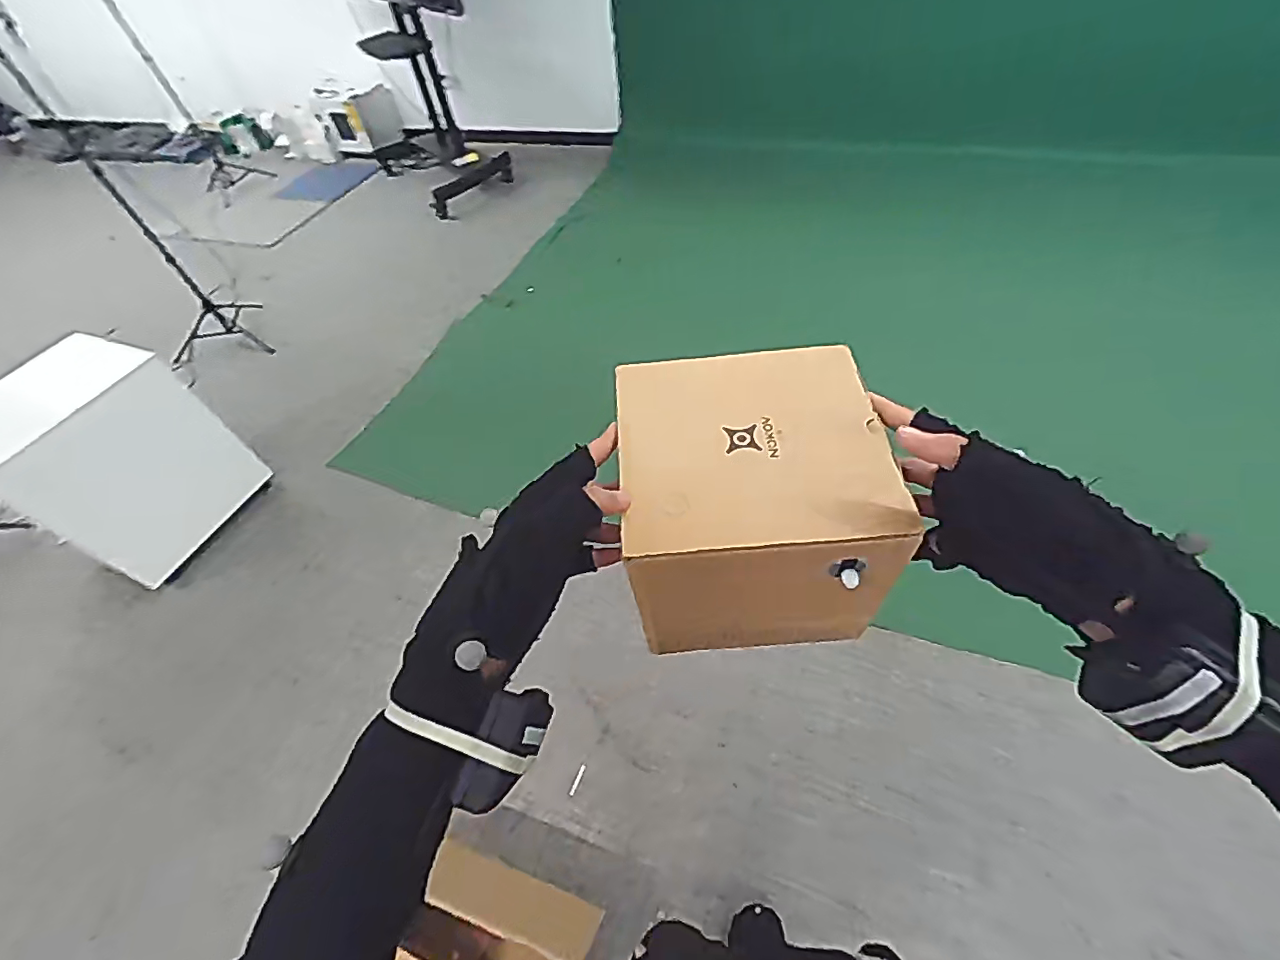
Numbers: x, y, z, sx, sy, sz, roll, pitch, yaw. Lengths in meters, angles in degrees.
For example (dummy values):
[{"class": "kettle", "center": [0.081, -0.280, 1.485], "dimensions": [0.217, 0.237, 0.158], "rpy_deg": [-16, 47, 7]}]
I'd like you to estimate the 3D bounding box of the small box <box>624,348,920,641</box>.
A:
[{"class": "small box", "center": [0.084, 0.020, 0.431], "dimensions": [0.179, 0.176, 0.168], "rpy_deg": [-4, 54, 2]}]
